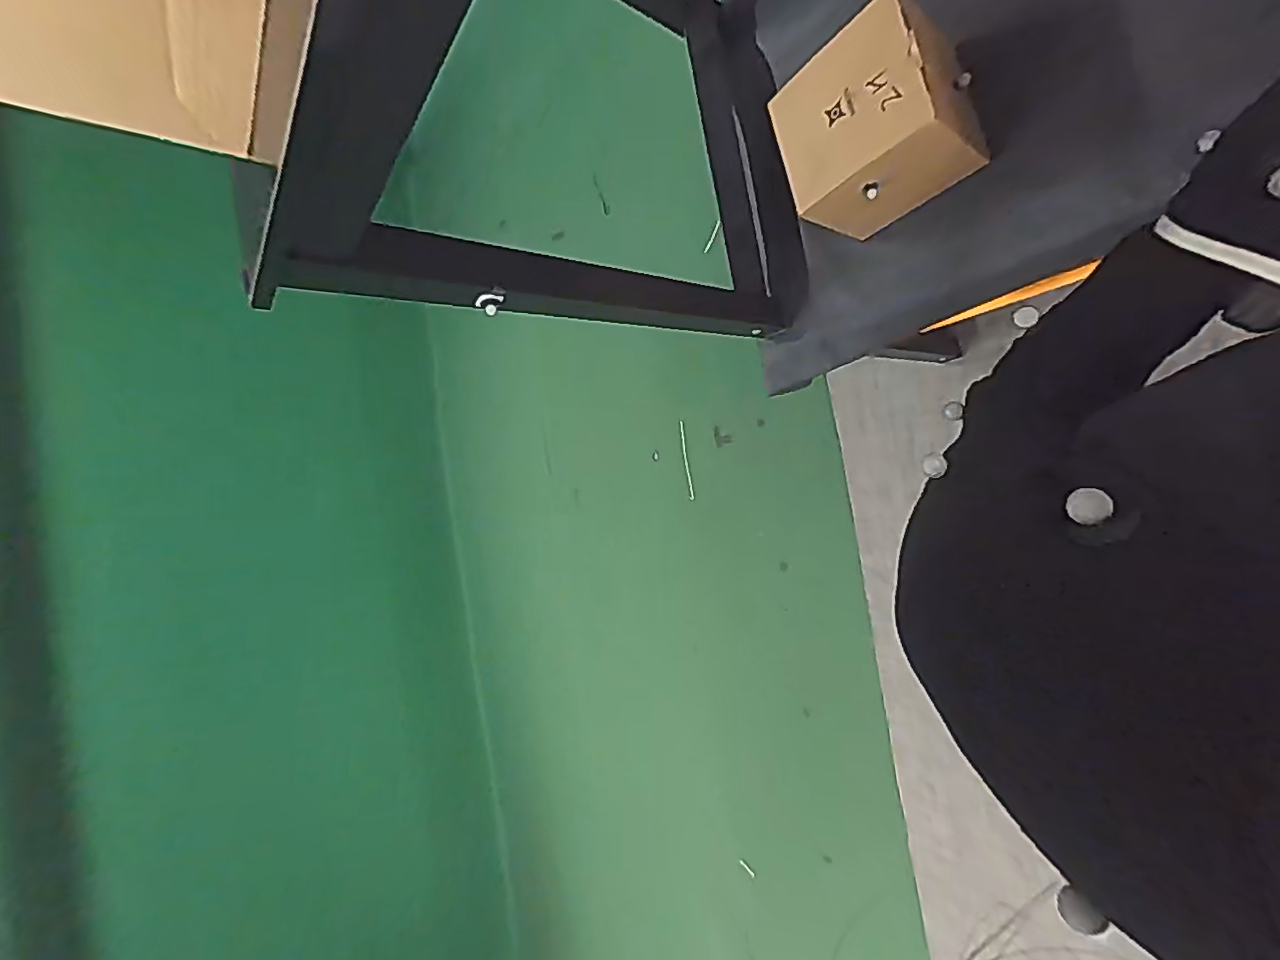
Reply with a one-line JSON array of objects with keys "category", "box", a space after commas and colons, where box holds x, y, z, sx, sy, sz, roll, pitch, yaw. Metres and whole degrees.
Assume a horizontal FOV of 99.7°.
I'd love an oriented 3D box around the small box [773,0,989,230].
[{"category": "small box", "box": [0.306, -0.452, 0.694, 0.179, 0.176, 0.168, -20, 81, 49]}]
